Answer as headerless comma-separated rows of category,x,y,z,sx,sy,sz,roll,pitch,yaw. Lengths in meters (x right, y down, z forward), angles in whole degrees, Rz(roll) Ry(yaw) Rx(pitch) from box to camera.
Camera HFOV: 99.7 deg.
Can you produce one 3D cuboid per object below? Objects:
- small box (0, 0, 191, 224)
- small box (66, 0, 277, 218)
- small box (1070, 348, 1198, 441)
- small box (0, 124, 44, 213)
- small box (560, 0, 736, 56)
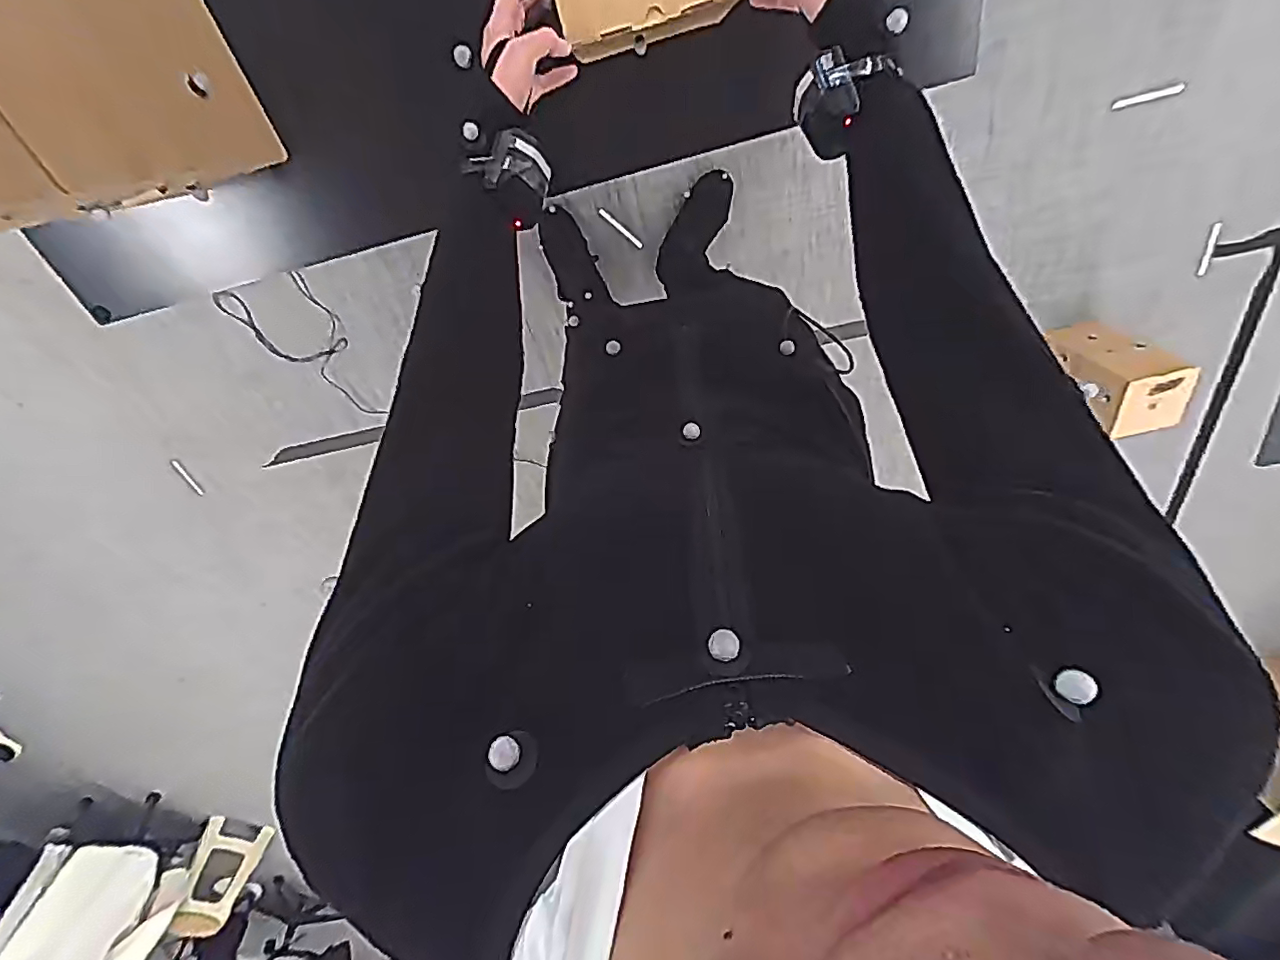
small box,-0.520,-0.304,0.416,0.168,0.176,0.179,-13,124,7
small box,-0.526,-0.397,0.552,0.168,0.176,0.179,-14,125,7
small box,1.283,-0.232,1.422,0.168,0.176,0.179,-12,126,6
small box,-0.514,-0.211,0.282,0.168,0.176,0.179,-13,125,8
small box,-0.007,-0.518,0.489,0.168,0.176,0.179,-13,124,7
